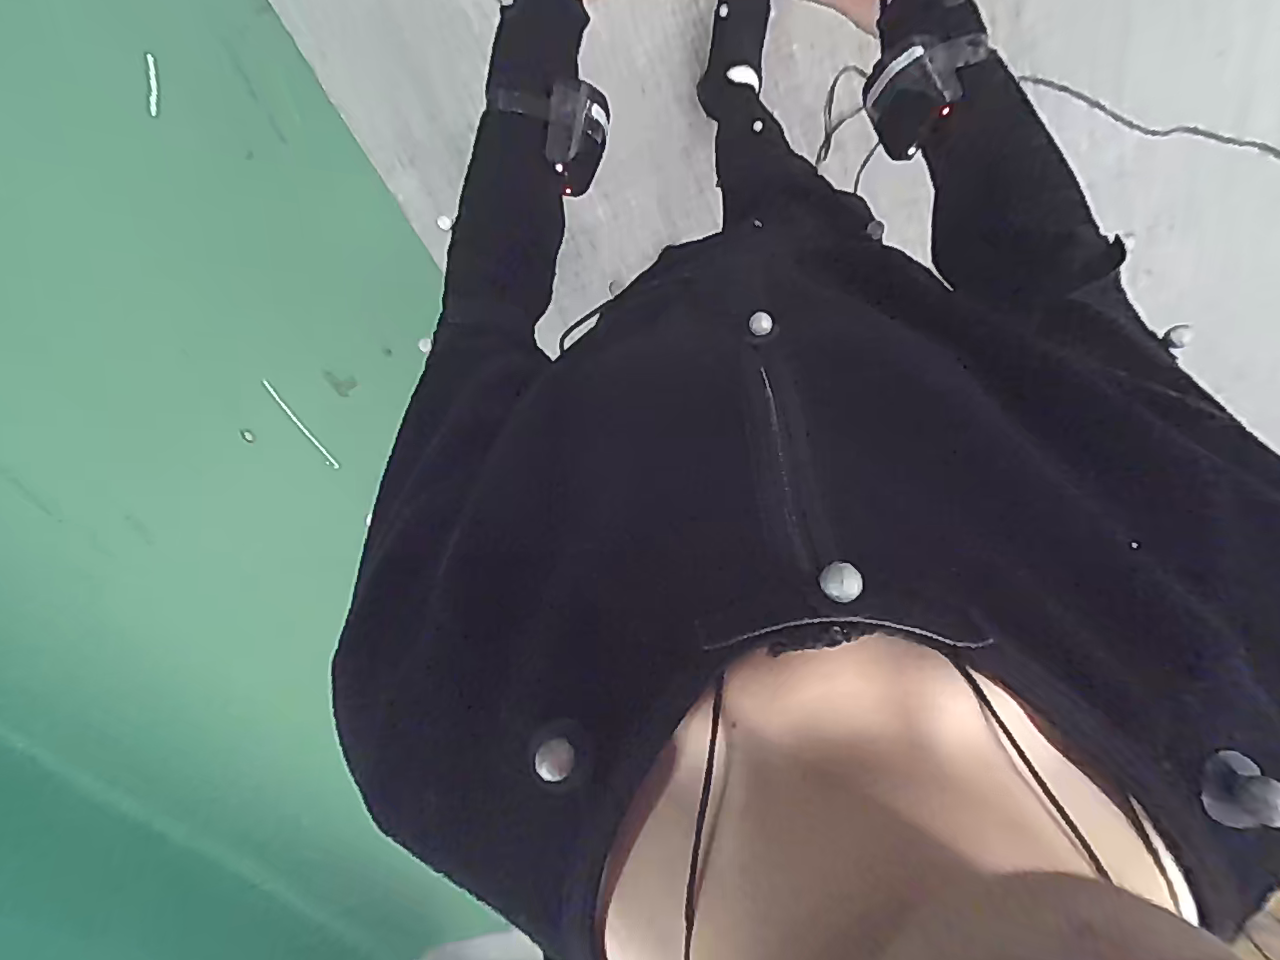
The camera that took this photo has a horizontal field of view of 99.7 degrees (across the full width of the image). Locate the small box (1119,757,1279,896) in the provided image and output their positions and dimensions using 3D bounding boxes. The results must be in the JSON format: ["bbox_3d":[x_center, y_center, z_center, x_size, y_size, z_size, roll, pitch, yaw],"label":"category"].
[{"bbox_3d":[1.110,0.681,1.070,0.179,0.176,0.168,-25,117,18],"label":"small box"}]

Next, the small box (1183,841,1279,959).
[{"bbox_3d":[1.096,0.764,0.932,0.179,0.176,0.168,-27,115,18],"label":"small box"}]
